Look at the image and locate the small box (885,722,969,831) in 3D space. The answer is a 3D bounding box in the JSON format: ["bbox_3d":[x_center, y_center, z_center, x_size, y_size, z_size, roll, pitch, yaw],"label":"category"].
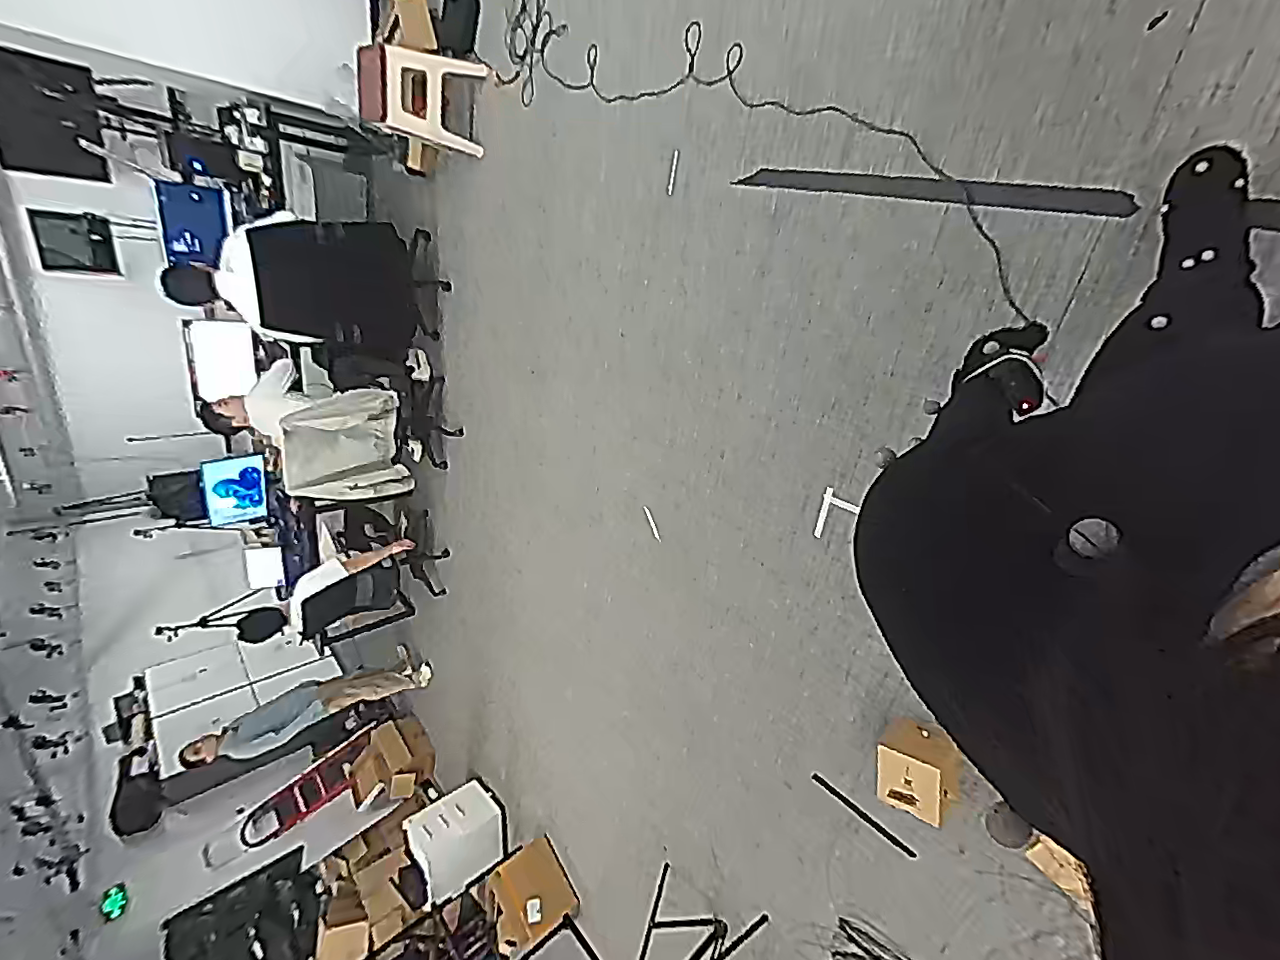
[{"bbox_3d":[0.808,0.823,1.520,0.168,0.176,0.179,6,103,46],"label":"small box"}]
